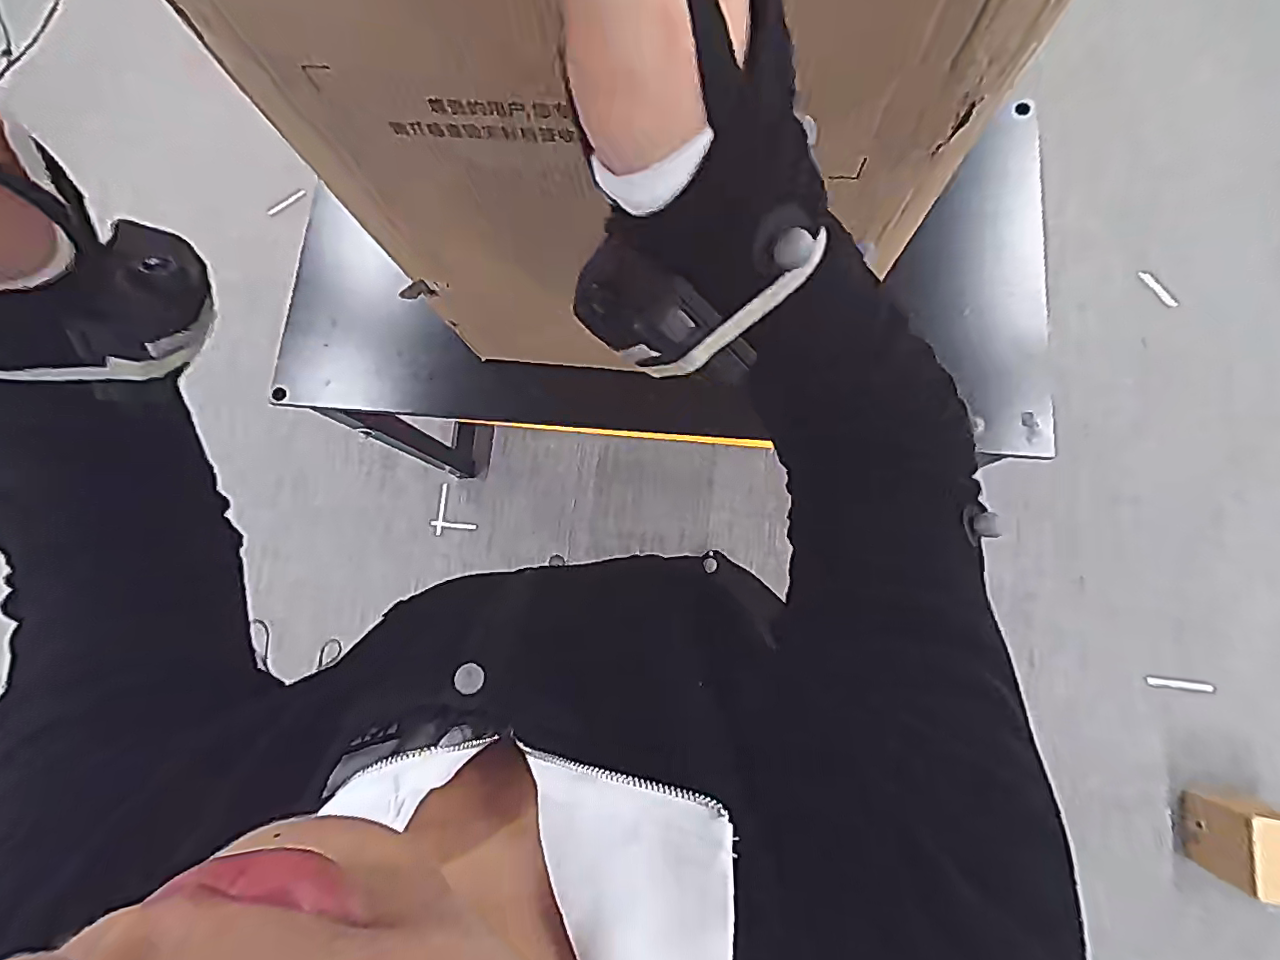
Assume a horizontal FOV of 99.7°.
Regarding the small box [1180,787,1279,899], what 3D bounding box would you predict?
[{"bbox_3d":[1.398,0.822,1.229,0.179,0.176,0.168,5,79,6],"label":"small box"}]
